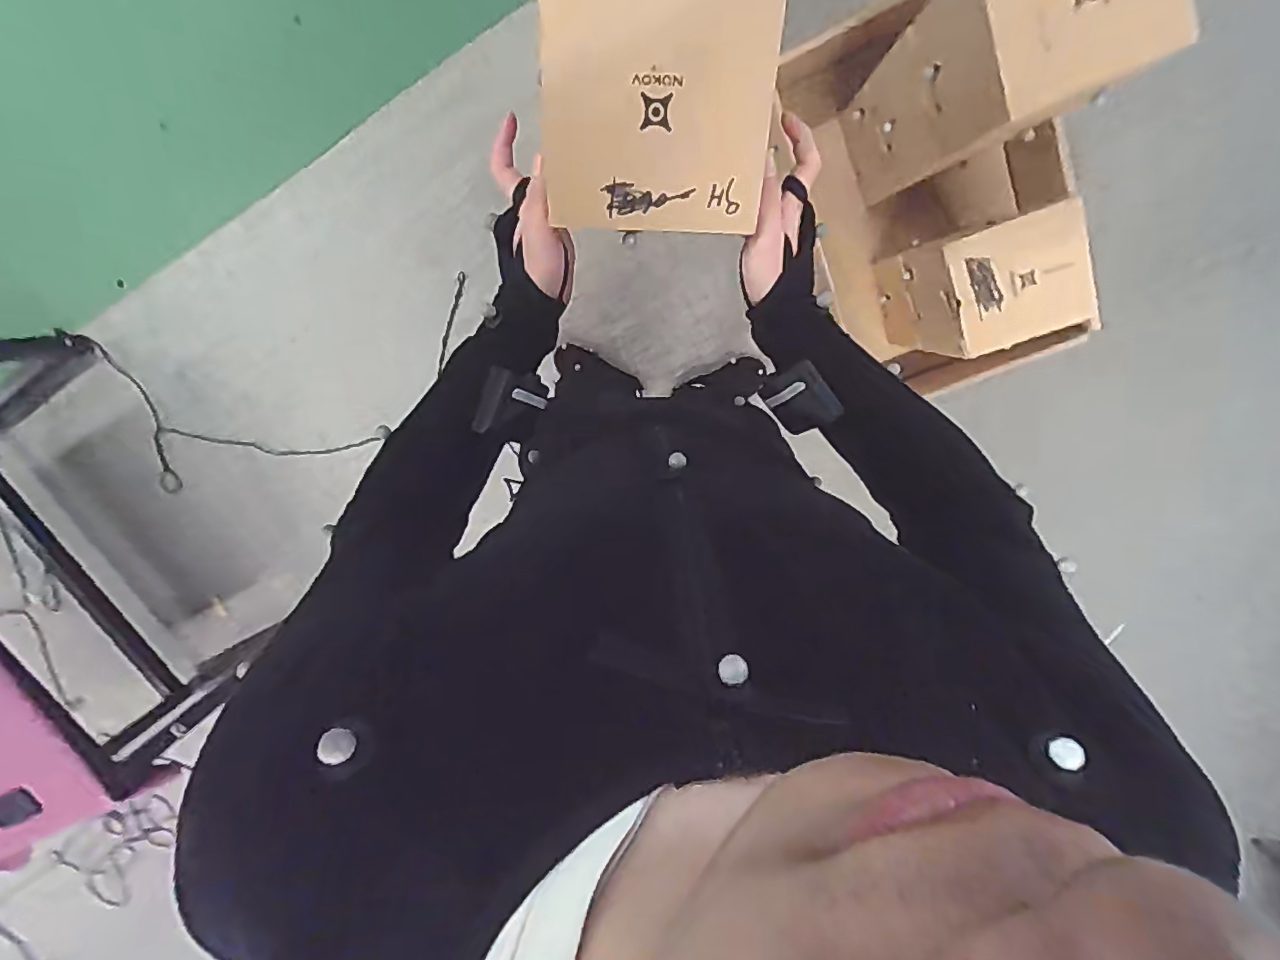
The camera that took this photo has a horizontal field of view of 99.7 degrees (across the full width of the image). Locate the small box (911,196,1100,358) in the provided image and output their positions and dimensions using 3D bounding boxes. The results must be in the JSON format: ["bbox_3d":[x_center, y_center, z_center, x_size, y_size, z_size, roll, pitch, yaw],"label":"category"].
[{"bbox_3d":[0.528,-0.293,0.809,0.179,0.176,0.168,-18,105,11],"label":"small box"}]

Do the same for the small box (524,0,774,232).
[{"bbox_3d":[0.002,-0.308,0.443,0.168,0.176,0.179,2,120,-1],"label":"small box"}]

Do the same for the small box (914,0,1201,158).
[{"bbox_3d":[0.432,-0.486,0.585,0.179,0.176,0.168,-19,104,11],"label":"small box"}]

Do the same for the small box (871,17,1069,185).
[{"bbox_3d":[0.447,-0.536,0.739,0.179,0.176,0.168,-20,104,11],"label":"small box"}]

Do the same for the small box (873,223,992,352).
[{"bbox_3d":[0.544,-0.342,0.965,0.179,0.176,0.168,-19,104,12],"label":"small box"}]
